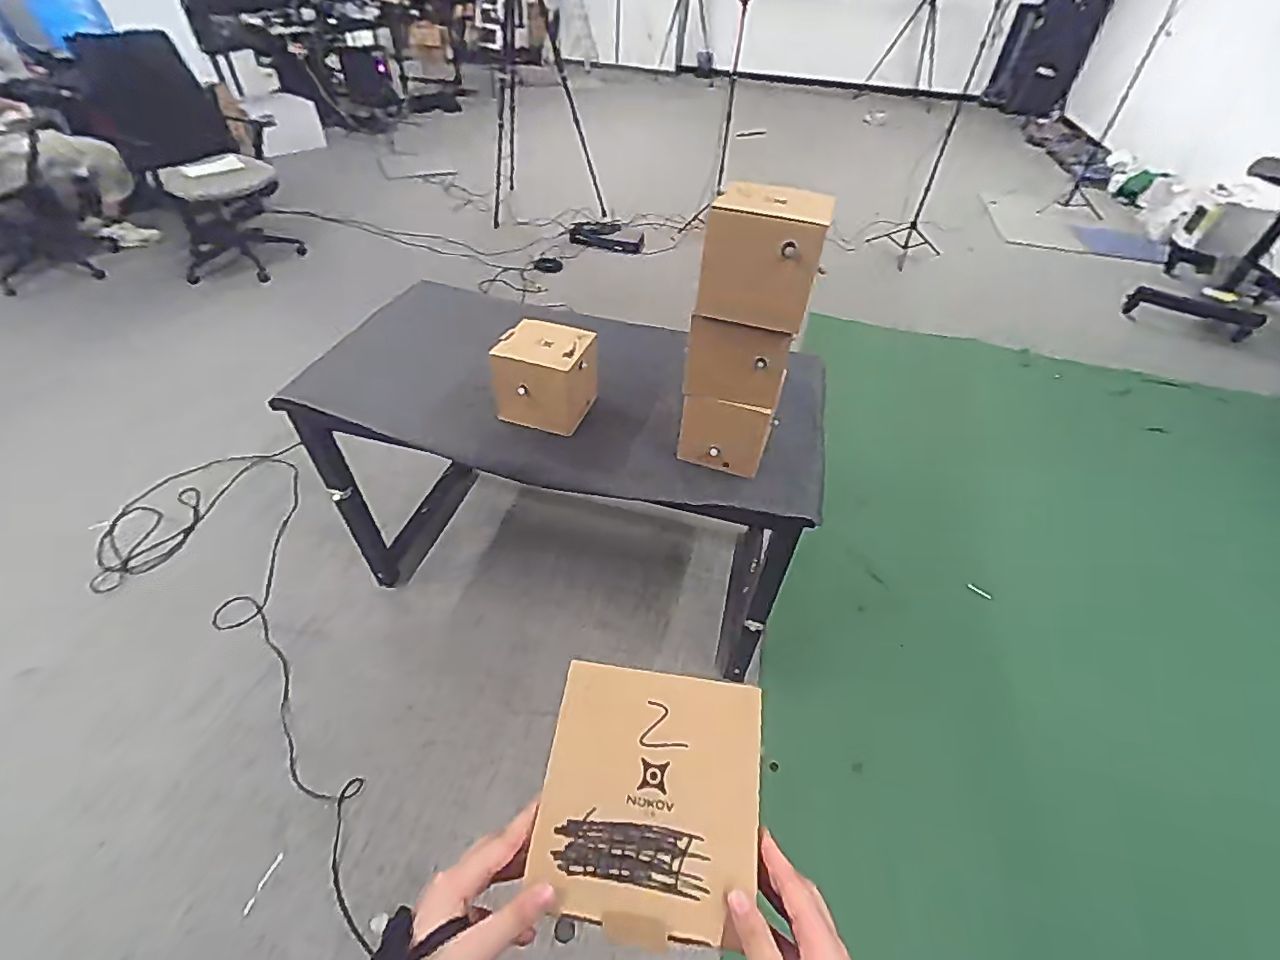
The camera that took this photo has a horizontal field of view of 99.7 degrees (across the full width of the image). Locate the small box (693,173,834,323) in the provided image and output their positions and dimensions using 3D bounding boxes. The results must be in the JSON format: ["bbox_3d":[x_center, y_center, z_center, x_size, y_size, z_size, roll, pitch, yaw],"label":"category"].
[{"bbox_3d":[0.195,-0.370,0.867,0.179,0.176,0.168,14,43,12],"label":"small box"}]

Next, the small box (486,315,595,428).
[{"bbox_3d":[-0.206,-0.234,1.174,0.179,0.176,0.168,14,45,11],"label":"small box"}]

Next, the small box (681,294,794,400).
[{"bbox_3d":[0.180,-0.266,0.997,0.179,0.176,0.168,10,42,9],"label":"small box"}]

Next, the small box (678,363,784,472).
[{"bbox_3d":[0.182,-0.146,1.106,0.168,0.176,0.179,16,45,14],"label":"small box"}]
